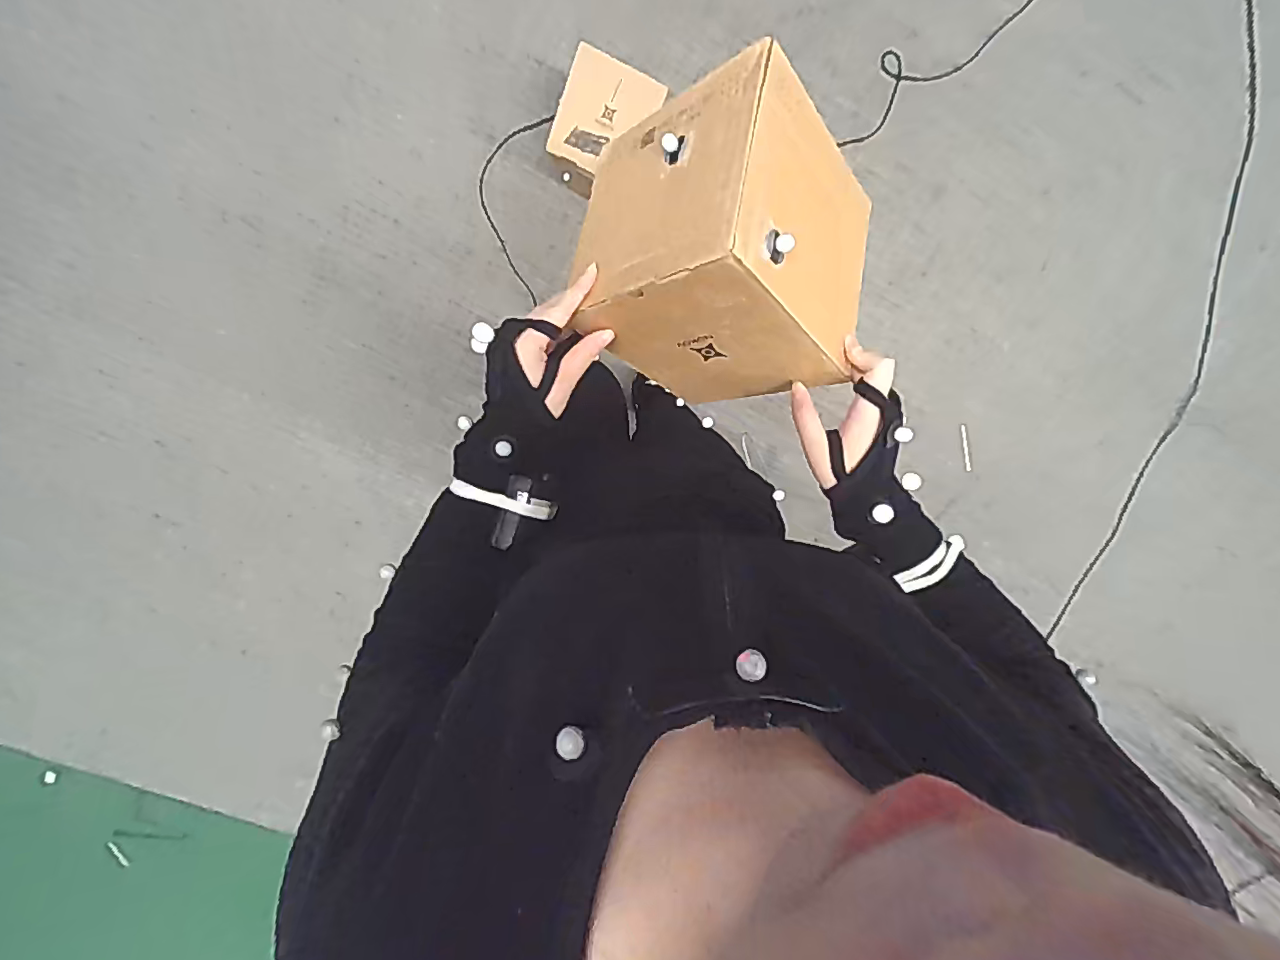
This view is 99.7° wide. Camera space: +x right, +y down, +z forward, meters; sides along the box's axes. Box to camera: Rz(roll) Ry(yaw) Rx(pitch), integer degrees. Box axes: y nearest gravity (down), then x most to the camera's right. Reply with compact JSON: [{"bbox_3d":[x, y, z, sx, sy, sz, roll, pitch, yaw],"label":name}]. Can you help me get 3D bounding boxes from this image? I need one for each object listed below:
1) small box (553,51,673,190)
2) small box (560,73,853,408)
[{"bbox_3d":[-0.049,-0.650,1.029,0.168,0.176,0.179,22,107,-9],"label":"small box"},{"bbox_3d":[0.065,-0.181,0.461,0.179,0.168,0.176,26,70,-41],"label":"small box"}]
